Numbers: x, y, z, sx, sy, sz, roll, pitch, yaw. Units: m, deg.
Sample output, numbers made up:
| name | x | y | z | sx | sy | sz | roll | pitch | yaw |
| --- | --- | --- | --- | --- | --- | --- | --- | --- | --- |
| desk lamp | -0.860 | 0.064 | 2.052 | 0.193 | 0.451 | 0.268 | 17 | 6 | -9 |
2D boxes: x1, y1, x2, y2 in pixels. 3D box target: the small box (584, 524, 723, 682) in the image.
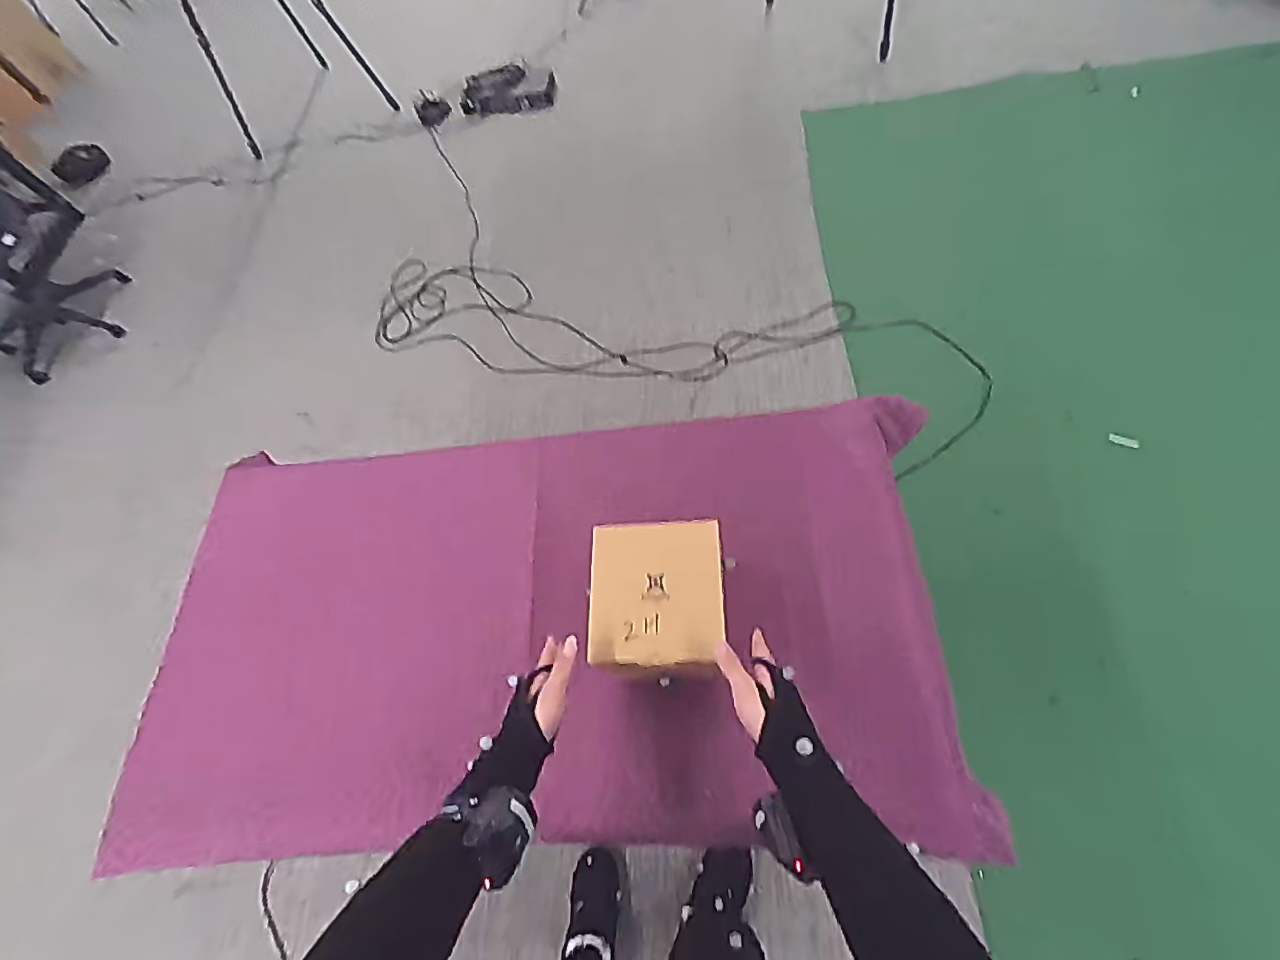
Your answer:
| name | x | y | z | sx | sy | sz | roll | pitch | yaw |
| --- | --- | --- | --- | --- | --- | --- | --- | --- | --- |
| small box | 0.027 | 0.172 | 0.737 | 0.168 | 0.176 | 0.179 | -3 | 64 | 9 |
